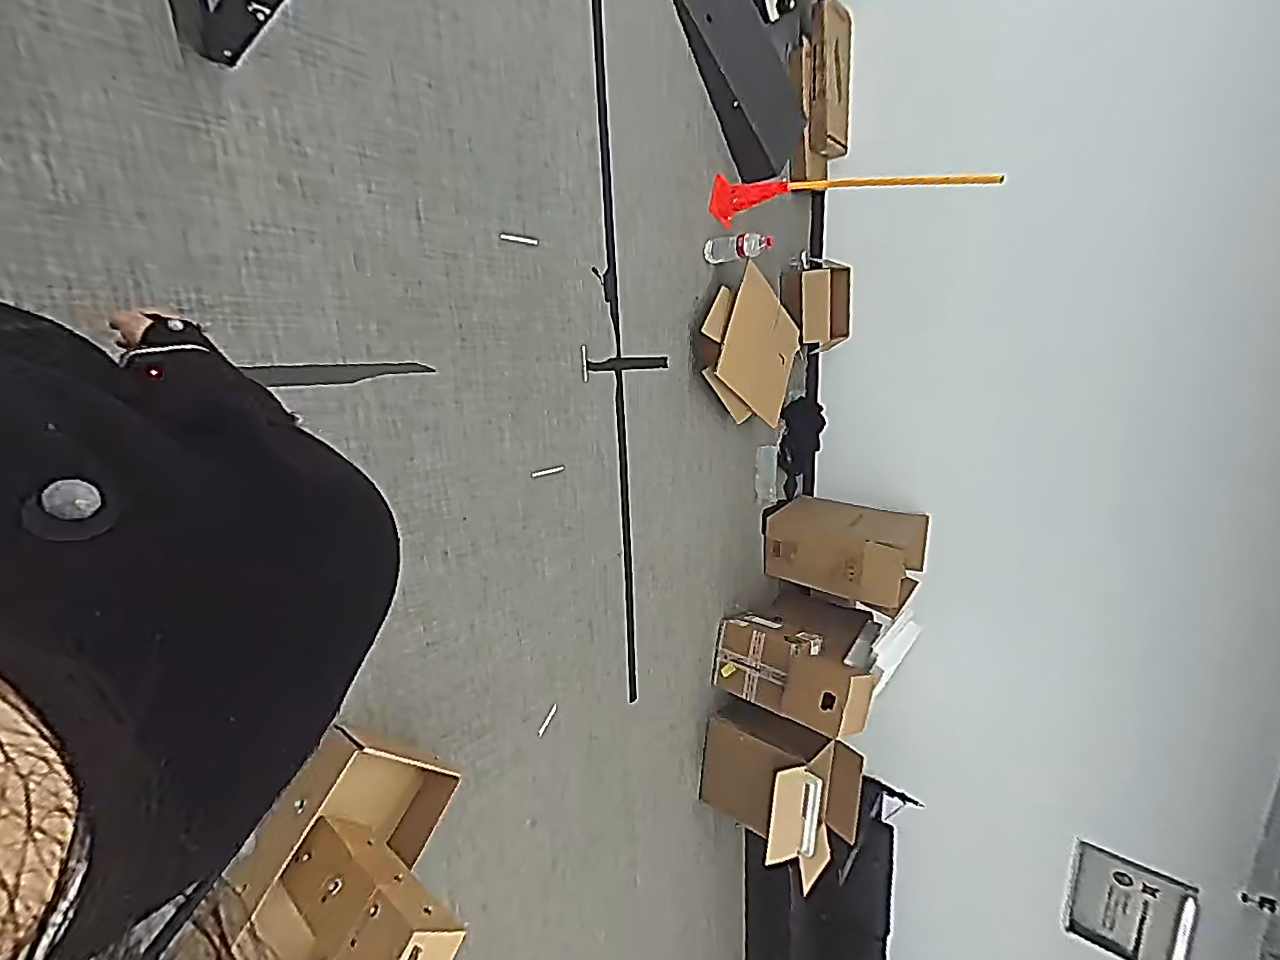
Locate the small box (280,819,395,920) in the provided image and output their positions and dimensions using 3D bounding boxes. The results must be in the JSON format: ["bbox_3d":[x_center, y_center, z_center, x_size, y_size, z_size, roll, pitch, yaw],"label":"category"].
[{"bbox_3d":[-0.810,1.043,1.449,0.168,0.176,0.179,-60,137,-25],"label":"small box"}]

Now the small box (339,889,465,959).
[{"bbox_3d":[-0.553,1.086,1.252,0.179,0.176,0.168,53,57,-44],"label":"small box"}]

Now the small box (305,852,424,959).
[{"bbox_3d":[-0.684,1.065,1.349,0.179,0.176,0.168,52,57,-42],"label":"small box"}]
